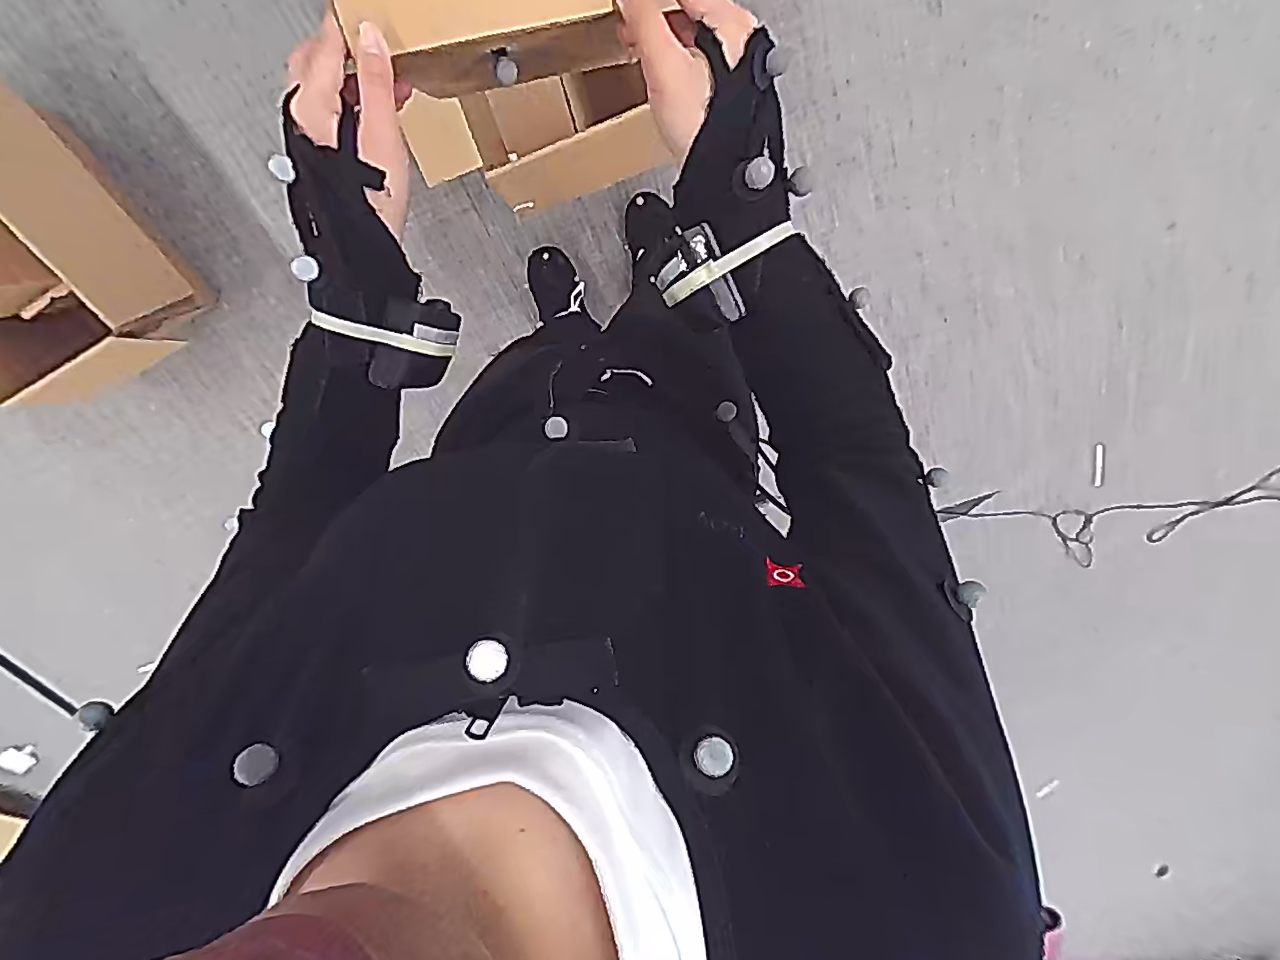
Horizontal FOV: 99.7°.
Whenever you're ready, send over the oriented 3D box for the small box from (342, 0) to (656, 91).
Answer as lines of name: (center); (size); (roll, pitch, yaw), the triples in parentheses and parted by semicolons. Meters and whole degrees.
small box: (-0.091, -0.364, 0.336); (0.179, 0.176, 0.168); (-9, 119, 3)
